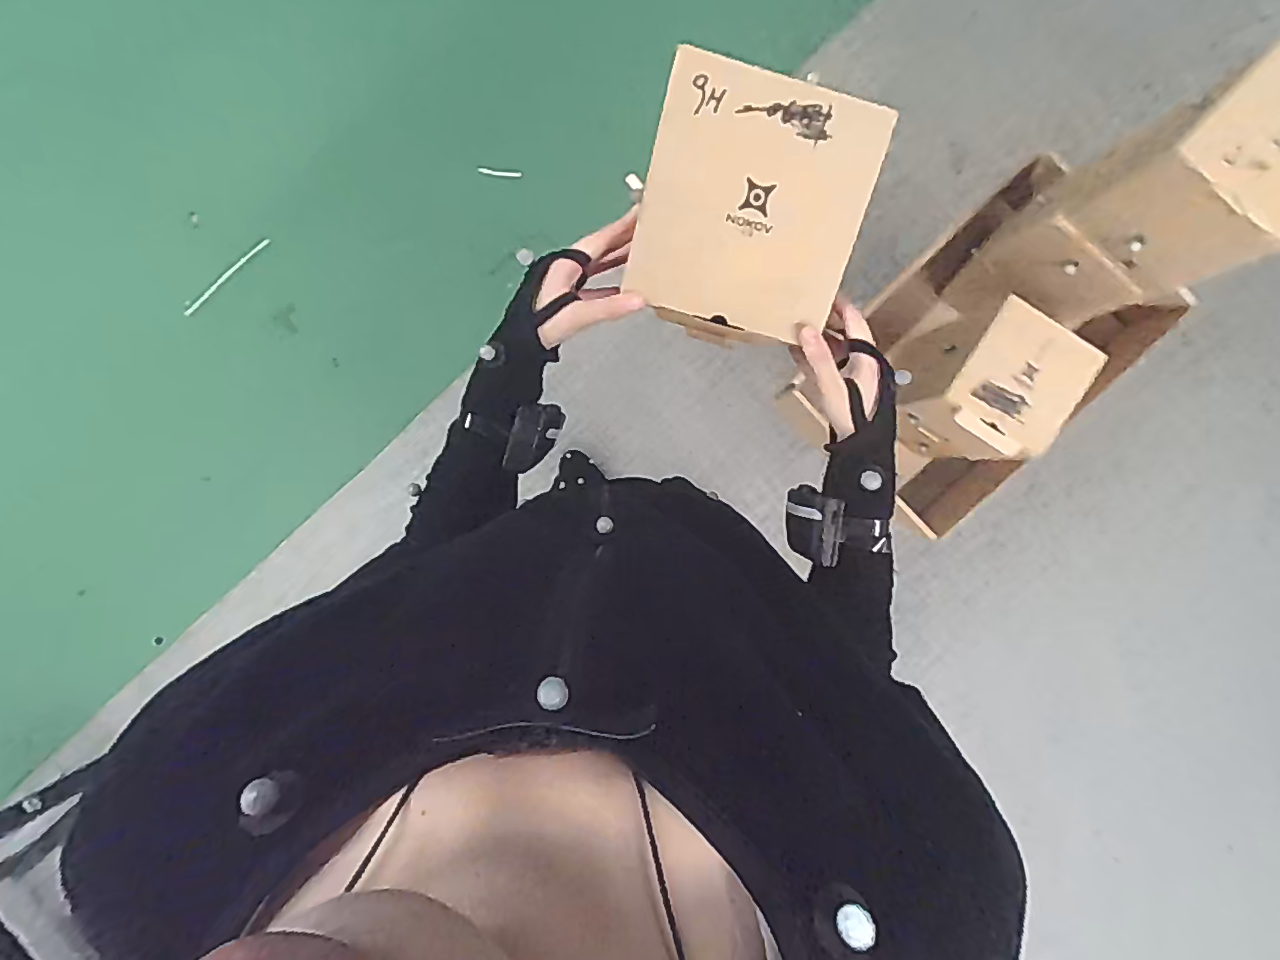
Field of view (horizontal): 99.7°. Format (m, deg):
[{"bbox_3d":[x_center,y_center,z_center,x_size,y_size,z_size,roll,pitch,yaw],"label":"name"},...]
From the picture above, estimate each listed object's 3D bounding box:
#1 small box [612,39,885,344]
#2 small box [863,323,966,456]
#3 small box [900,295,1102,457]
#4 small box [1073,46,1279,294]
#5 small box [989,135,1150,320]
[{"bbox_3d":[0.080,-0.239,0.486,0.168,0.176,0.179,14,112,-5],"label":"small box"},{"bbox_3d":[0.548,-0.158,1.012,0.168,0.176,0.179,34,92,0],"label":"small box"},{"bbox_3d":[0.544,-0.150,0.848,0.168,0.176,0.179,33,91,-1],"label":"small box"},{"bbox_3d":[0.708,-0.369,0.672,0.168,0.176,0.179,44,93,1],"label":"small box"},{"bbox_3d":[0.702,-0.370,0.837,0.179,0.176,0.168,42,92,1],"label":"small box"}]
